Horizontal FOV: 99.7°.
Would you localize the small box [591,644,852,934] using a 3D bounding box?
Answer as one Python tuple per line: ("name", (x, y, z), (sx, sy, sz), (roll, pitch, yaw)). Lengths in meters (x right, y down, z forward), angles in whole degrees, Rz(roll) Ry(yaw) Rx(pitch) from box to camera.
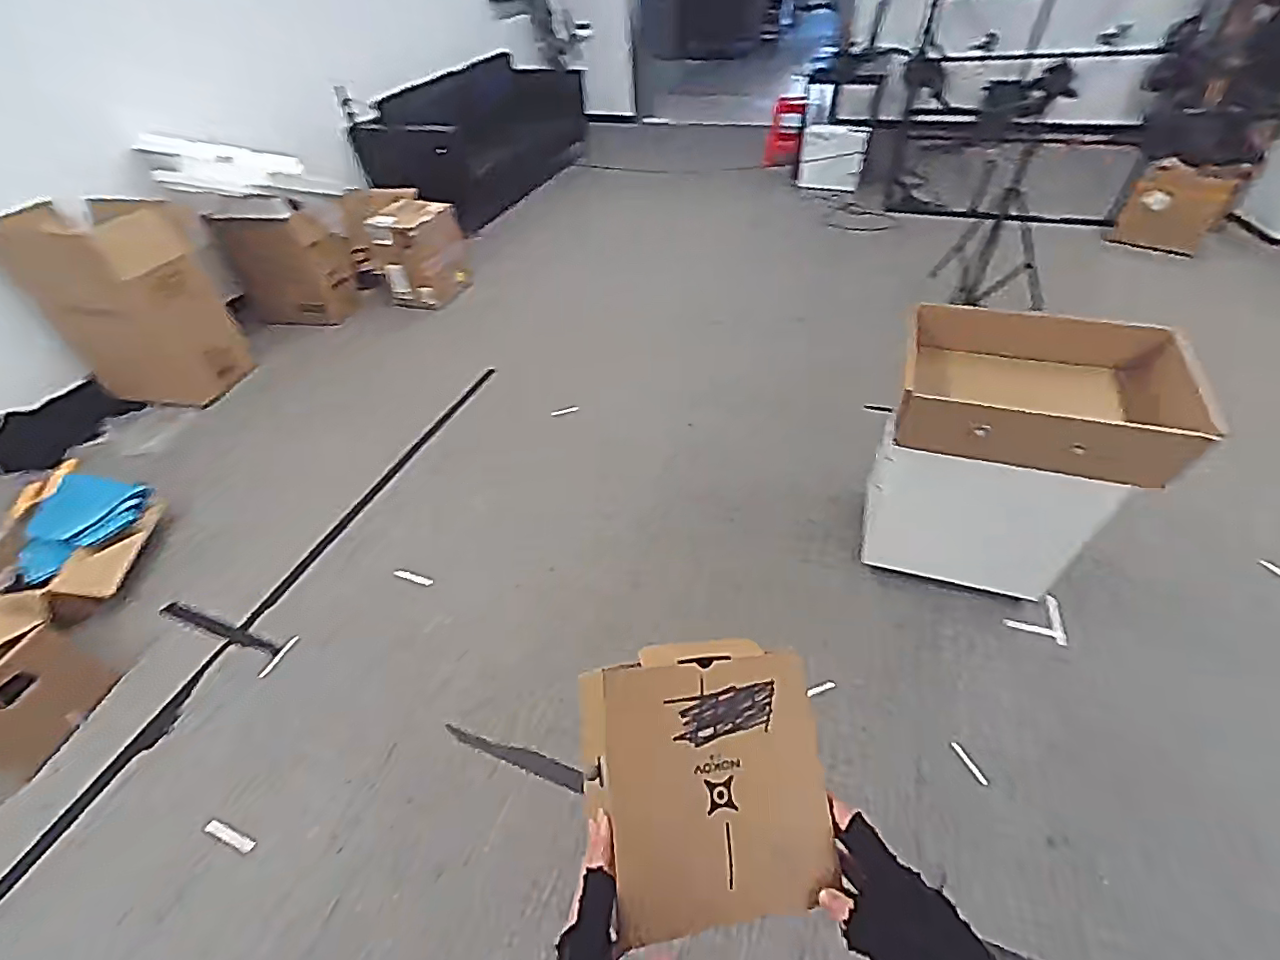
("small box", (0.050, 0.246, 0.471), (0.168, 0.176, 0.179), (0, 69, -12))
